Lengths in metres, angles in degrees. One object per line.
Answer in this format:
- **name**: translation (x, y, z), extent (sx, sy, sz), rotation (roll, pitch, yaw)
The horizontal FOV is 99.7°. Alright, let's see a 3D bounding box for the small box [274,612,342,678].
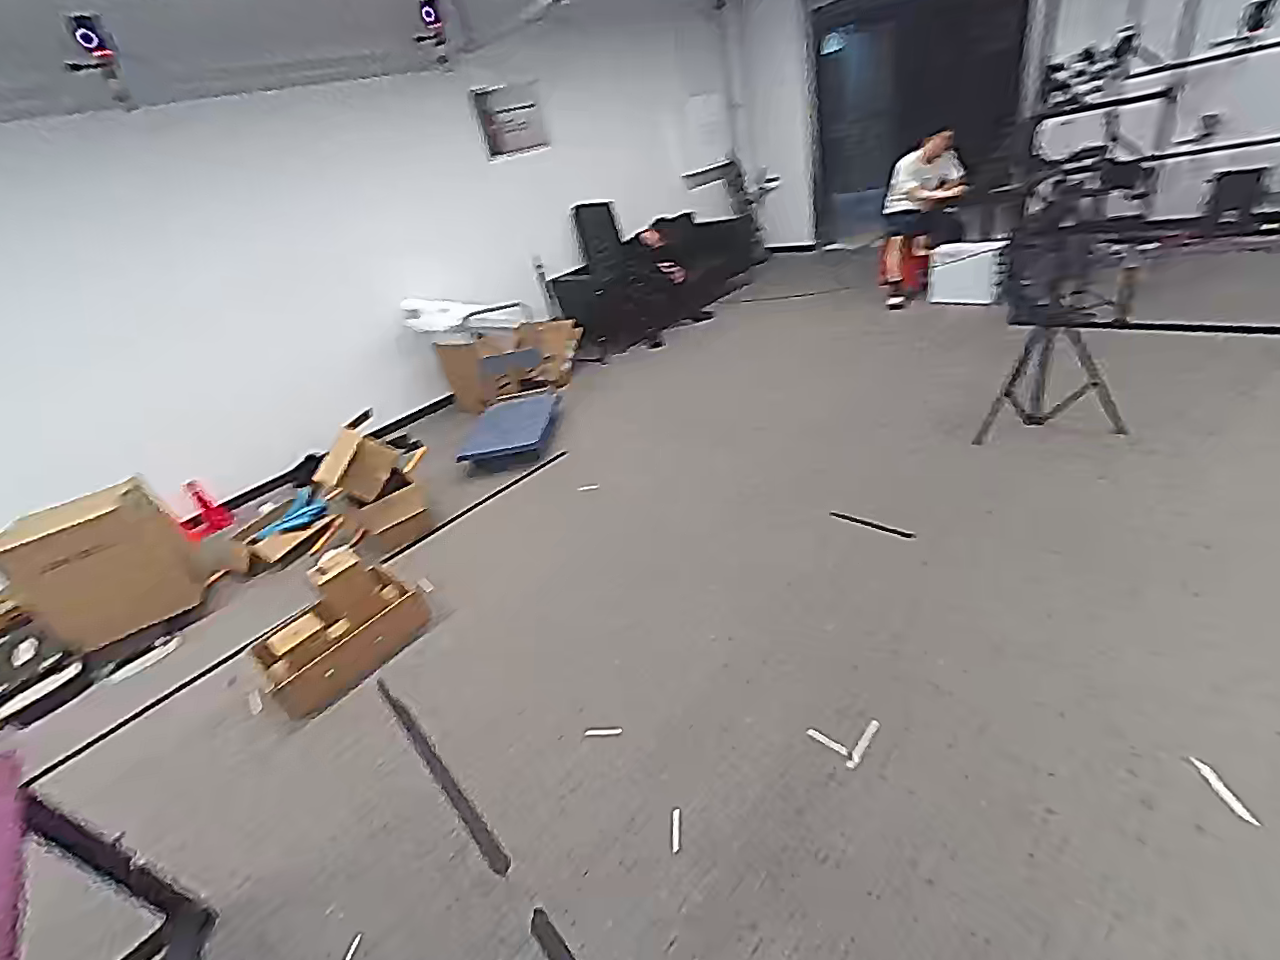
- **small box**: translation (-1.392, 0.696, 2.282), extent (0.168, 0.176, 0.179), rotation (13, 39, 40)

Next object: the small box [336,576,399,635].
- **small box**: translation (-1.223, 0.565, 2.430), extent (0.179, 0.176, 0.168), rotation (16, 43, 41)
